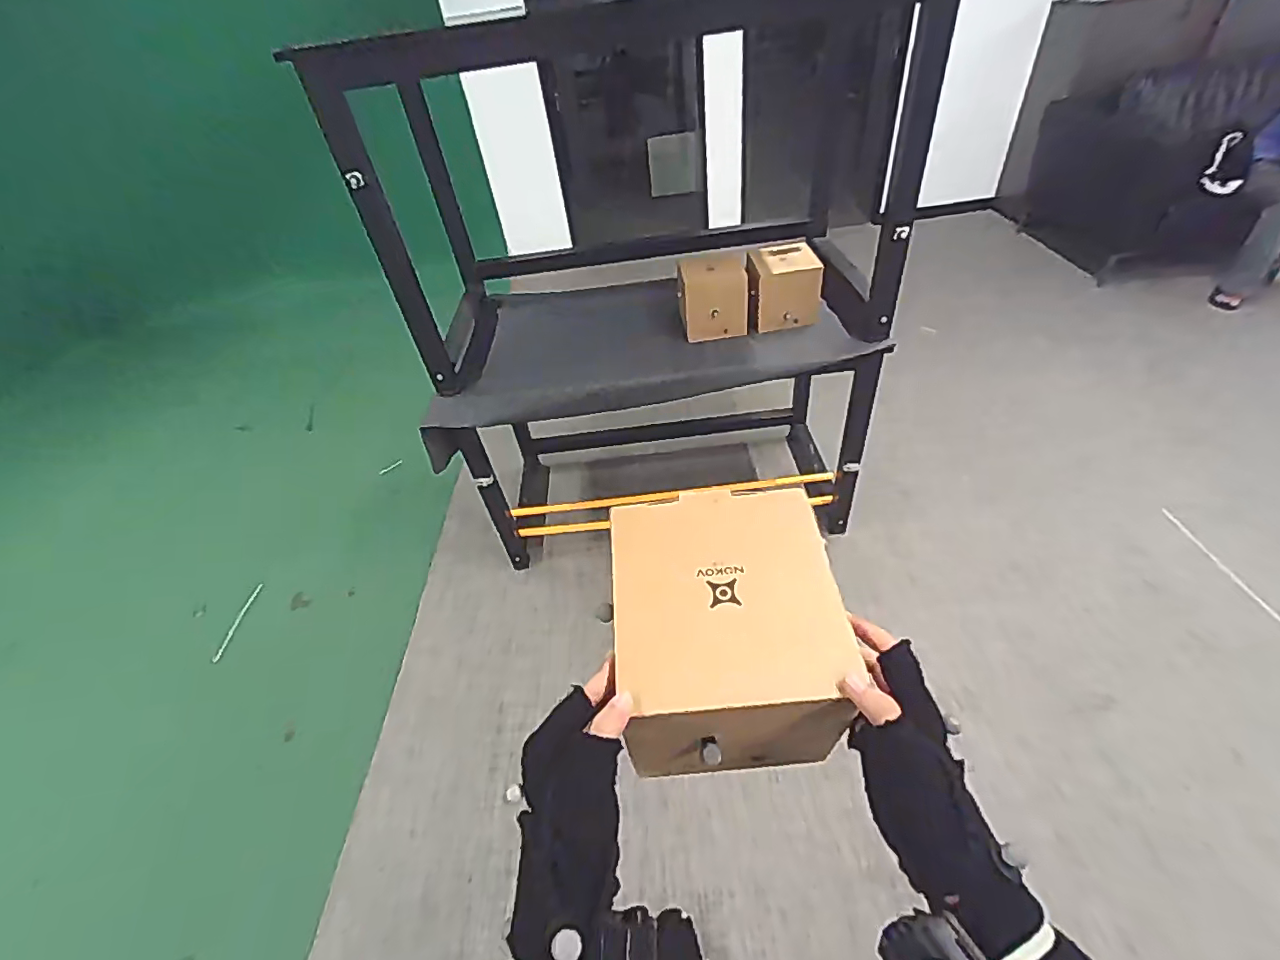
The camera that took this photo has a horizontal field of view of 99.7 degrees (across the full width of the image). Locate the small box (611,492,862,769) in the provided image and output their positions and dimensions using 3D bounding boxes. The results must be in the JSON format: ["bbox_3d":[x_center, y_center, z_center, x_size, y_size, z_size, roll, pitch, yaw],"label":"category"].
[{"bbox_3d":[0.069,0.136,0.470,0.168,0.176,0.179,-6,48,0],"label":"small box"}]
